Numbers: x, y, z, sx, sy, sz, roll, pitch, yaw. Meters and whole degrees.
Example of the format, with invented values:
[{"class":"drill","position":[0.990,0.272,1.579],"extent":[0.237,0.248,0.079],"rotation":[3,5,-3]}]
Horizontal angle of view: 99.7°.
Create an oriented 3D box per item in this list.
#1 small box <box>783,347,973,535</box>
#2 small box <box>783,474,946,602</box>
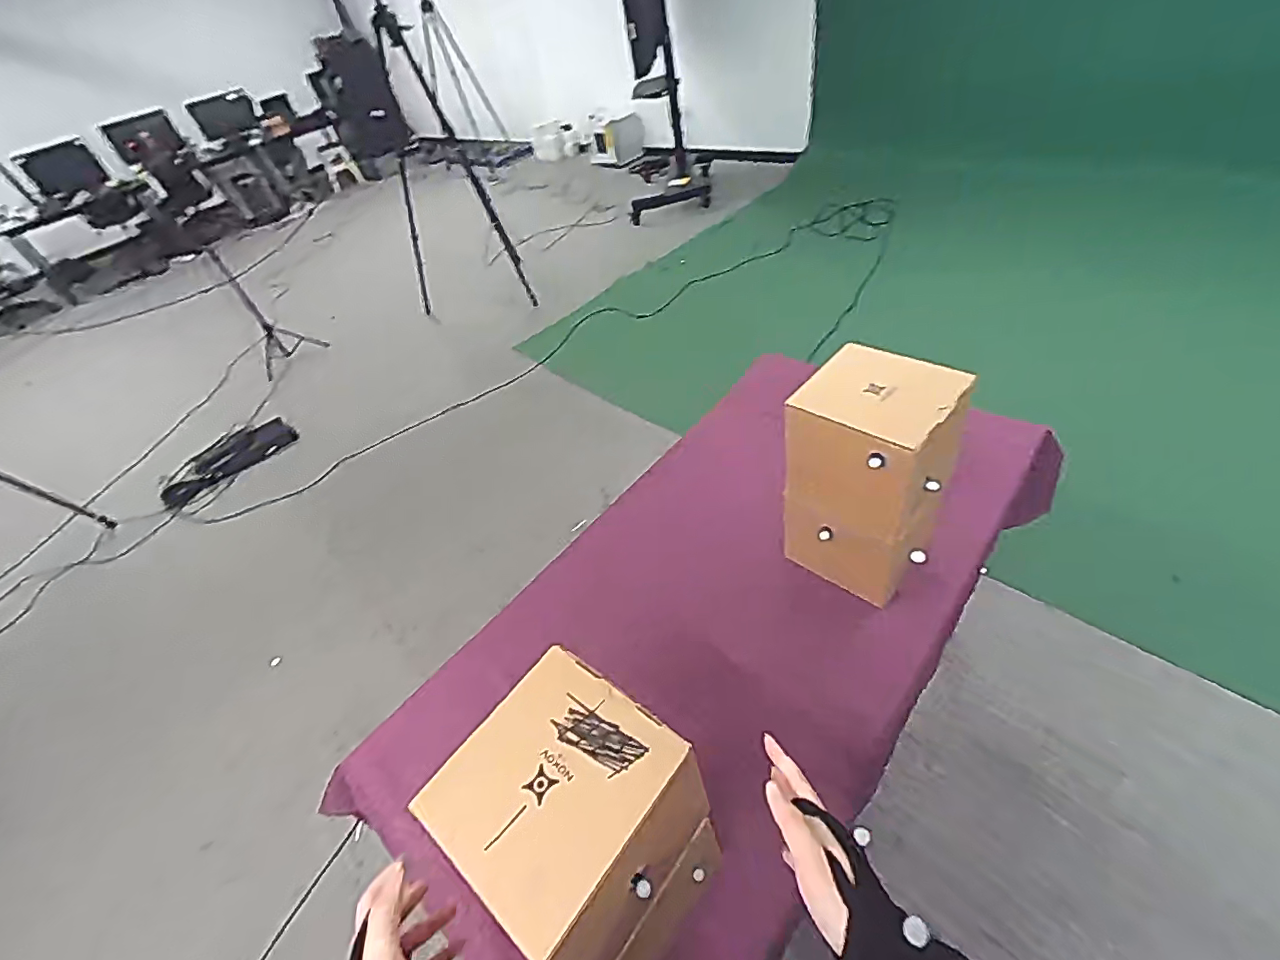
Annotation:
[{"class":"small box","position":[0.315,-0.054,0.746],"extent":[0.179,0.176,0.168],"rotation":[29,59,35]},{"class":"small box","position":[0.345,0.061,0.857],"extent":[0.179,0.176,0.168],"rotation":[29,59,36]}]
